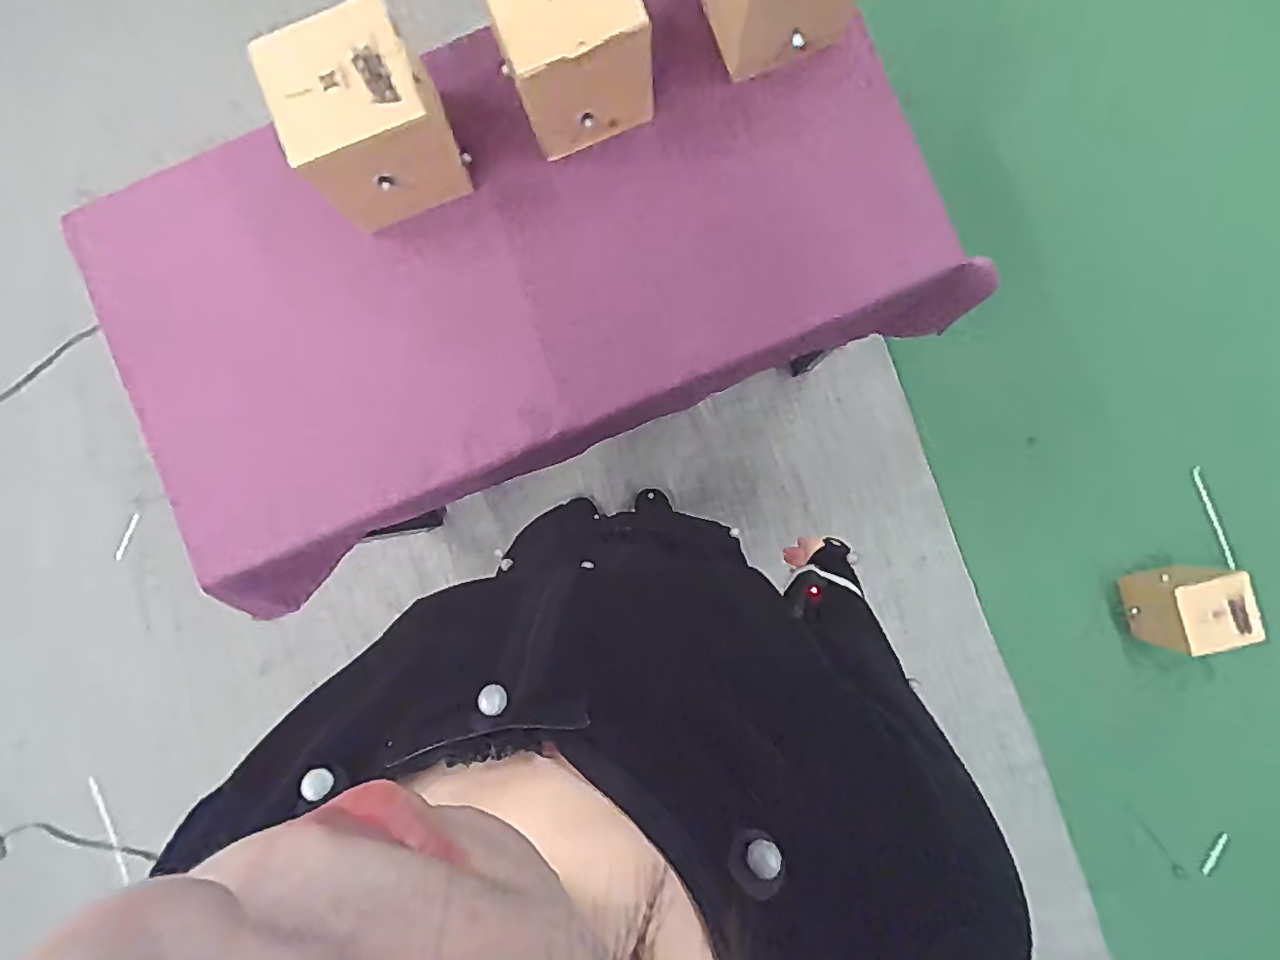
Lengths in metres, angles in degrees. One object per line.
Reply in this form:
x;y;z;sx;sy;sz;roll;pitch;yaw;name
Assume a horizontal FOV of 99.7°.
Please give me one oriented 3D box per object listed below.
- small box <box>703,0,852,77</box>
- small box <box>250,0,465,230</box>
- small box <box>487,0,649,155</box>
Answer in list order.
0.175;-0.682;0.695;0.168;0.176;0.179;-20;91;3;small box
-0.355;-0.471;0.720;0.179;0.176;0.168;-21;89;3;small box
-0.095;-0.581;0.712;0.168;0.176;0.179;-22;89;2;small box
